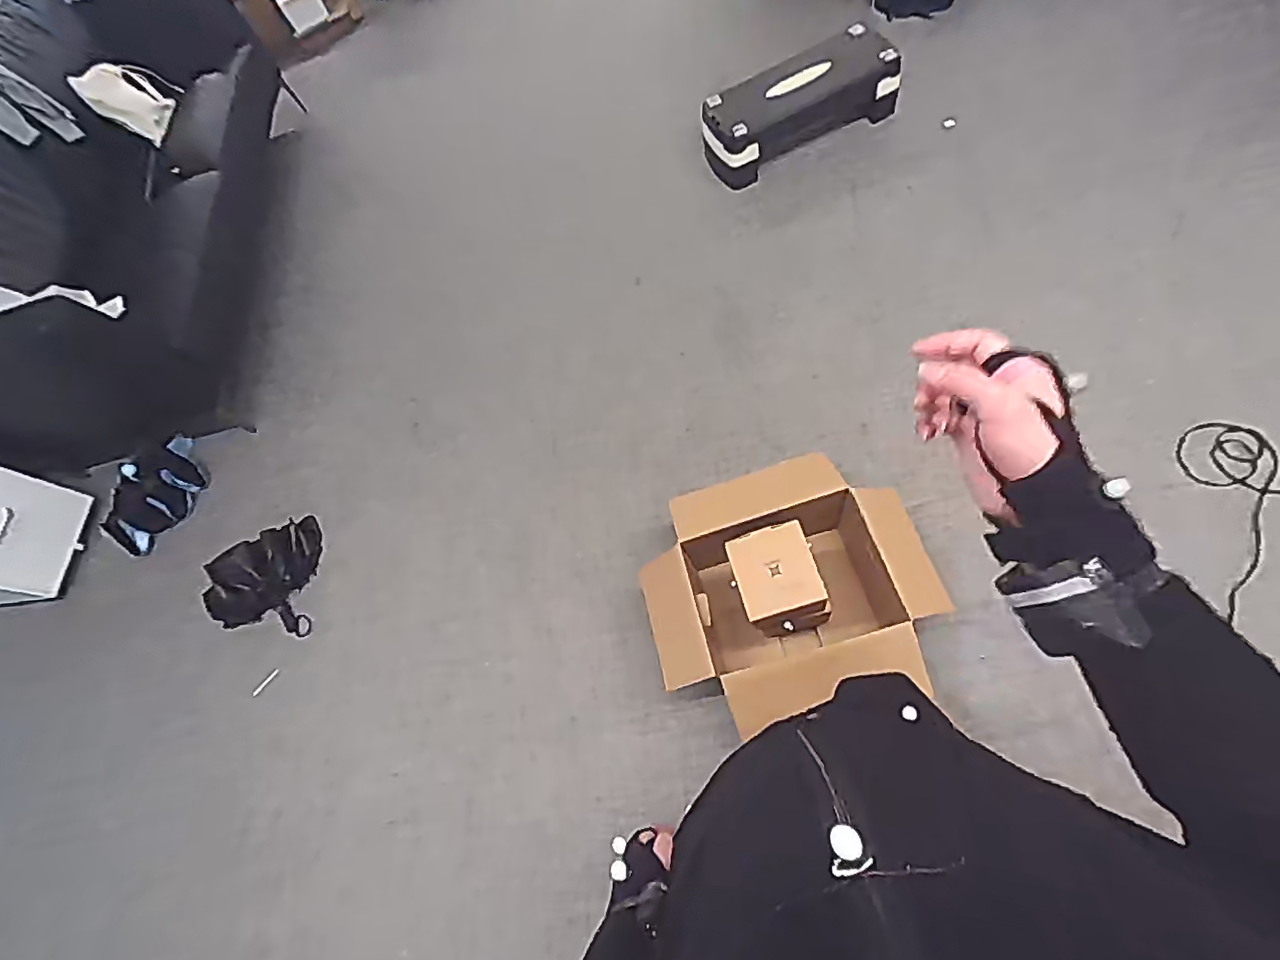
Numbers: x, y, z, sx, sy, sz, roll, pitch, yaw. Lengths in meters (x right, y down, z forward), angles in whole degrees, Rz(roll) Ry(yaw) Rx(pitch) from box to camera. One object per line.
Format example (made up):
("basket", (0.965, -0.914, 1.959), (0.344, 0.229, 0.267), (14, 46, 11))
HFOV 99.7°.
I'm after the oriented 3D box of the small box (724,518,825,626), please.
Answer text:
("small box", (0.294, 0.208, 1.192), (0.168, 0.176, 0.179), (-19, 66, 9))
